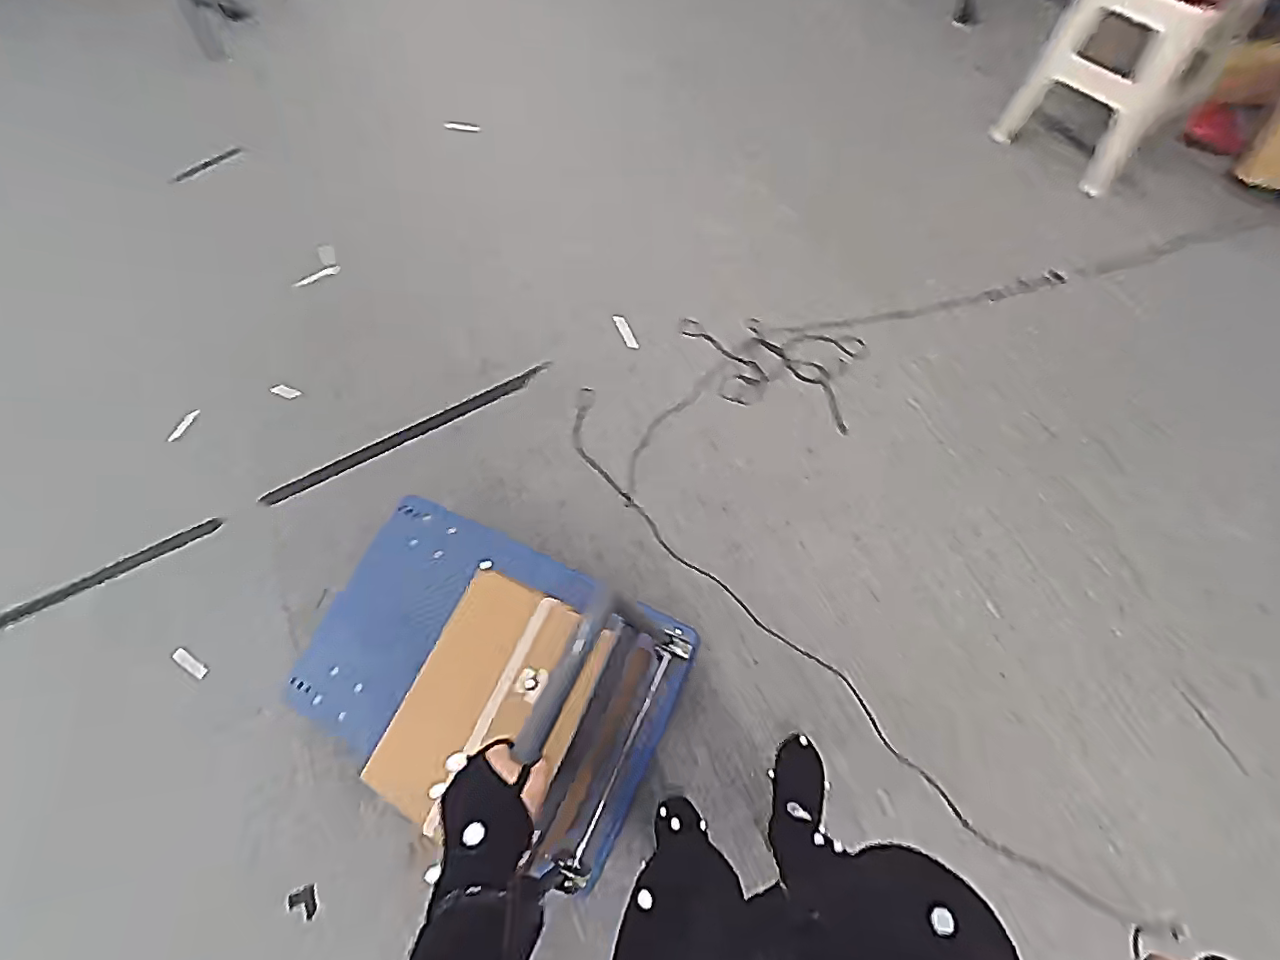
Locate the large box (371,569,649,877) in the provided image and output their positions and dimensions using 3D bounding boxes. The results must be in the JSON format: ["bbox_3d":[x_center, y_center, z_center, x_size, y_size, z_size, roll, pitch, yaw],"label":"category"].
[{"bbox_3d":[-0.219,0.448,1.063,0.320,0.320,0.408,23,73,17],"label":"large box"}]
